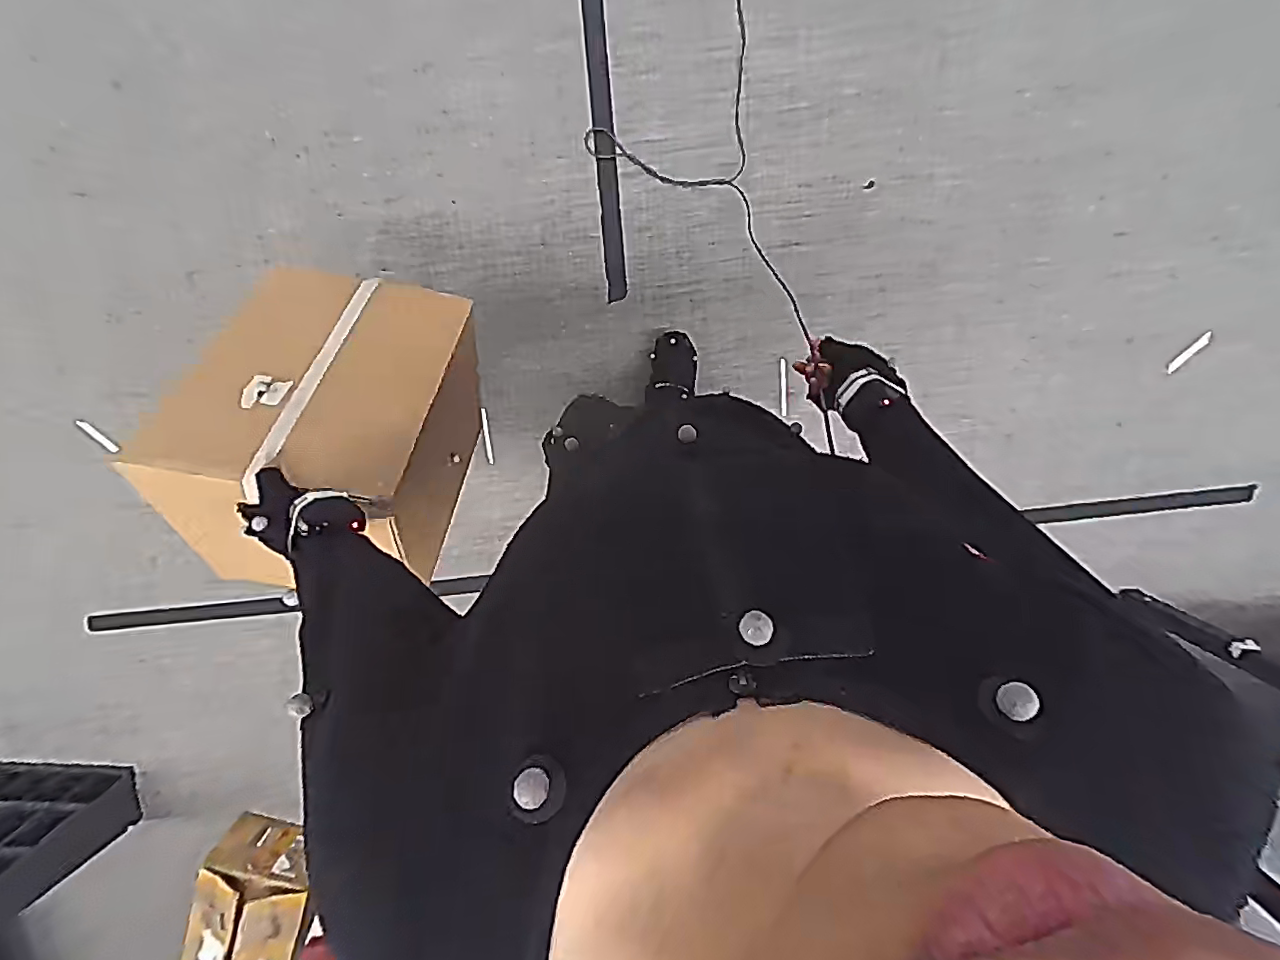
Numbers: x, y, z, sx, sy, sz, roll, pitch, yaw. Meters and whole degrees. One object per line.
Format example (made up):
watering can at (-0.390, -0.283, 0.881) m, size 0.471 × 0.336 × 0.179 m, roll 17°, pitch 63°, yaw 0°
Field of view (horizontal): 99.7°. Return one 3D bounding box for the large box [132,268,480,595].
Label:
large box at (-0.468, -0.073, 0.888) m, size 0.320 × 0.408 × 0.320 m, roll 9°, pitch 145°, yaw -5°
